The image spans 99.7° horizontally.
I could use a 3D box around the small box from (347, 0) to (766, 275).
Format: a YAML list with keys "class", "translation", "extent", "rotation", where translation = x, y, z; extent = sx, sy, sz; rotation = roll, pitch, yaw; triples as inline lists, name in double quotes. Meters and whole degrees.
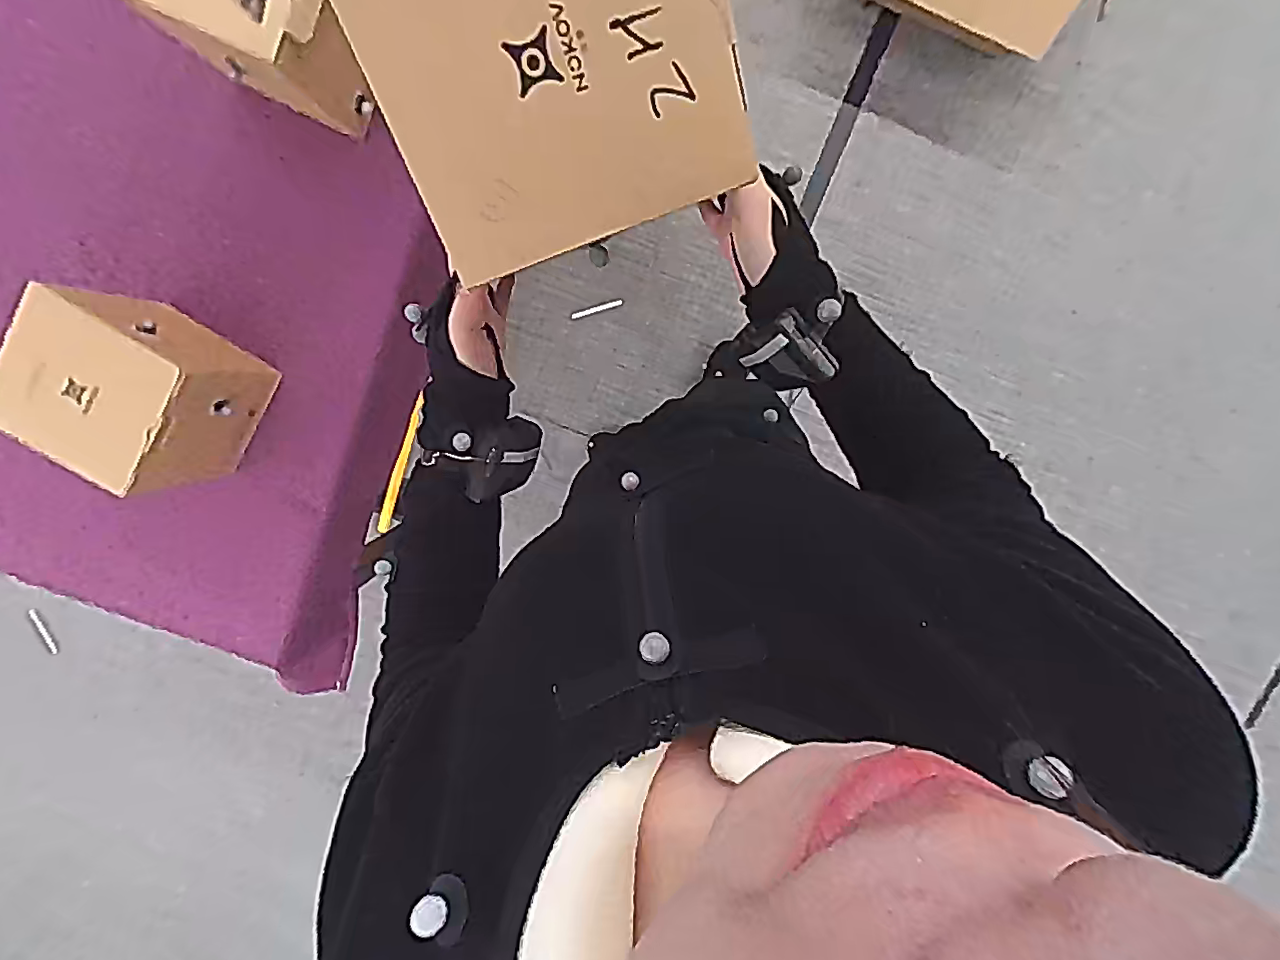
- class: "small box"
  translation: [-0.042, -0.240, 0.332]
  extent: [0.179, 0.176, 0.168]
  rotation: [-18, 116, 5]

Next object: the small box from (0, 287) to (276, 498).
- class: "small box"
  translation: [-0.597, -0.105, 0.657]
  extent: [0.179, 0.176, 0.168]
  rotation: [32, 98, -5]

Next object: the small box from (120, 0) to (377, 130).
- class: "small box"
  translation: [-0.395, -0.517, 0.580]
  extent: [0.179, 0.176, 0.168]
  rotation: [24, 99, -3]
